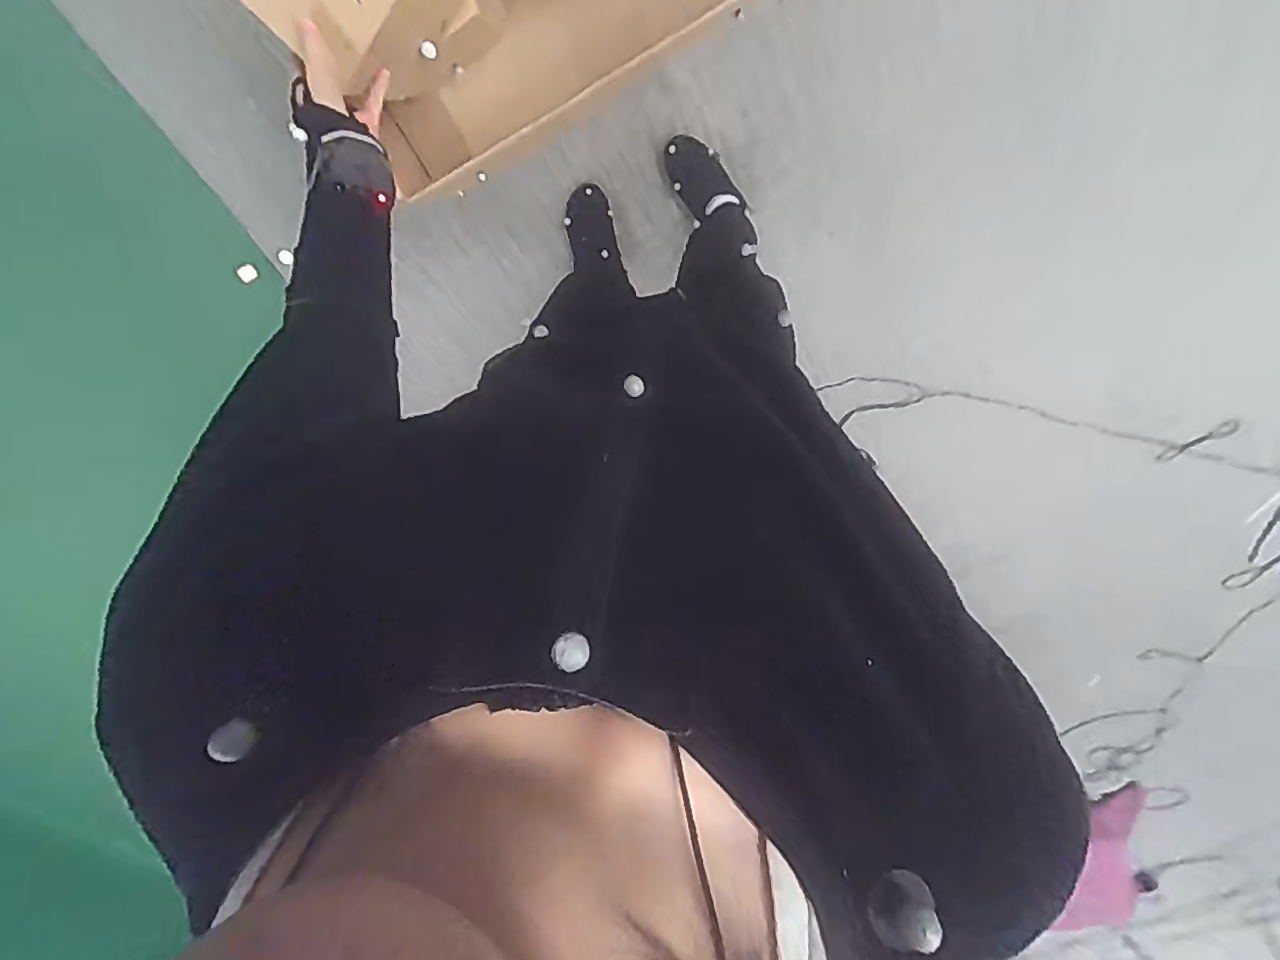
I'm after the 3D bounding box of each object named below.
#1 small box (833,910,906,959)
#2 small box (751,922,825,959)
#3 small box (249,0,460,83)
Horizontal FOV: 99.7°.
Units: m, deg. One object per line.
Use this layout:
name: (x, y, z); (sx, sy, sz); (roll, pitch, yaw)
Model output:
small box: (0.713, 1.444, 1.648); (0.179, 0.176, 0.168); (-19, 120, 12)
small box: (0.475, 1.530, 1.703); (0.168, 0.176, 0.179); (39, 115, -23)
small box: (-0.302, -0.534, 0.537); (0.168, 0.176, 0.179); (-38, 117, 23)
